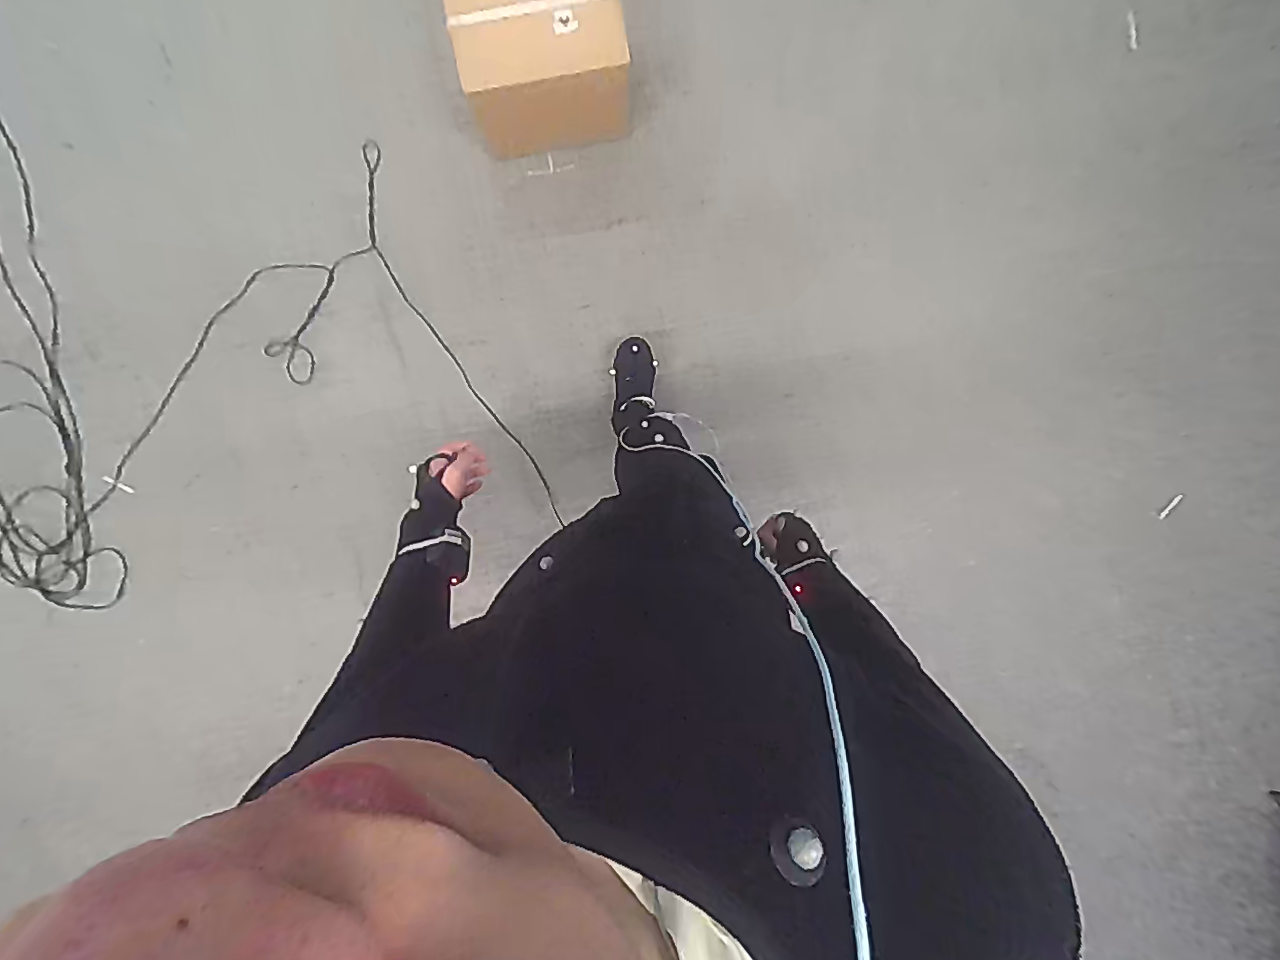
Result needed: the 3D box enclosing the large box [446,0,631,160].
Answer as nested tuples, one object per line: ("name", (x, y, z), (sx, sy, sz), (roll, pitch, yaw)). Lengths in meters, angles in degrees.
("large box", (-0.250, -1.105, 1.415), (0.408, 0.320, 0.320), (-12, 94, -1))
